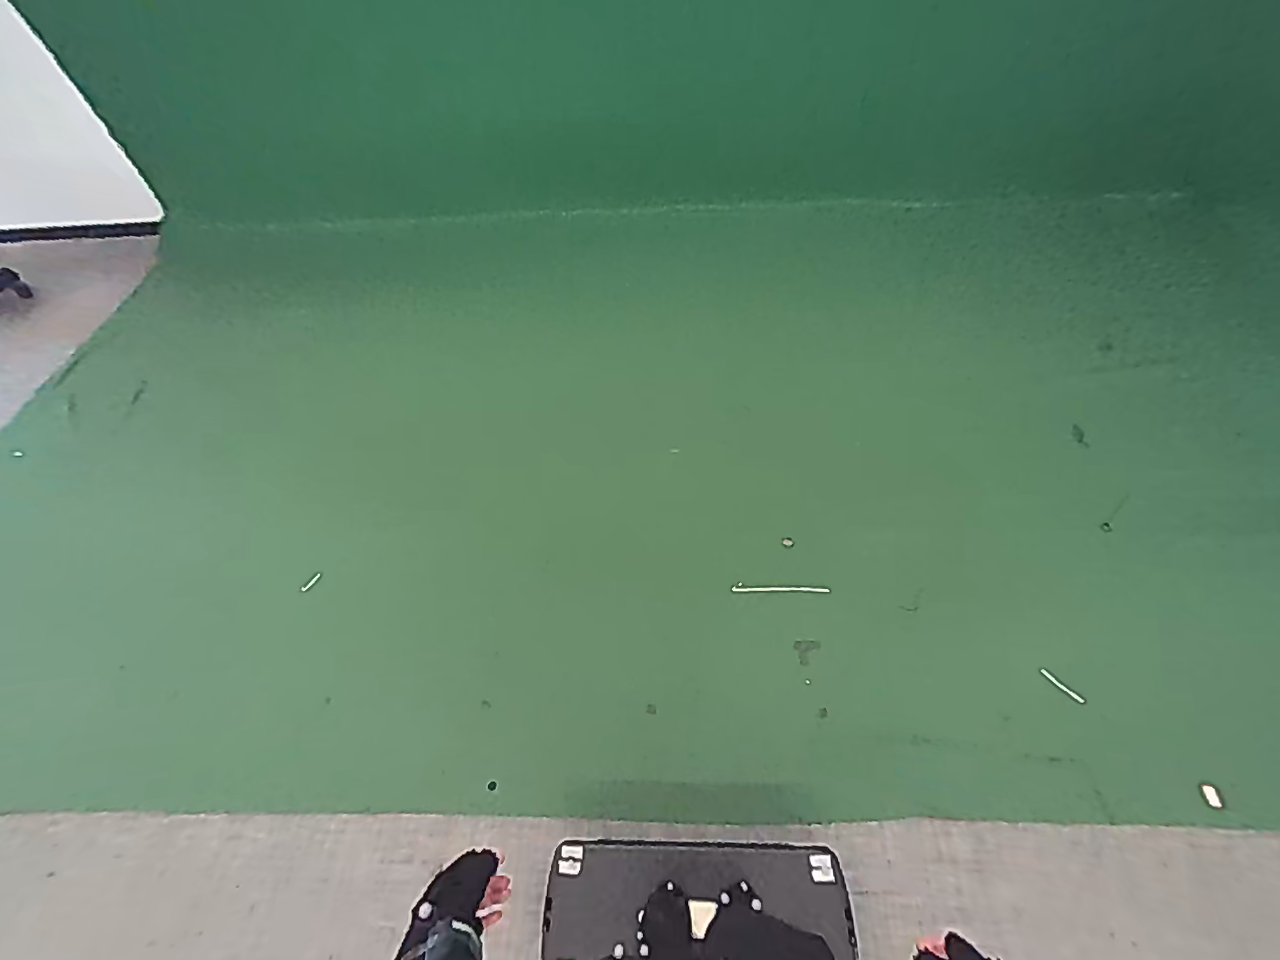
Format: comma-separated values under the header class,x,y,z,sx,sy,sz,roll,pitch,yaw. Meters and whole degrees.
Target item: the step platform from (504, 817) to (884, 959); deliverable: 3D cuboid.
class,x,y,z,sx,sy,sz,roll,pitch,yaw
step platform,0.097,0.844,1.070,0.684,0.204,0.286,-1,55,3
